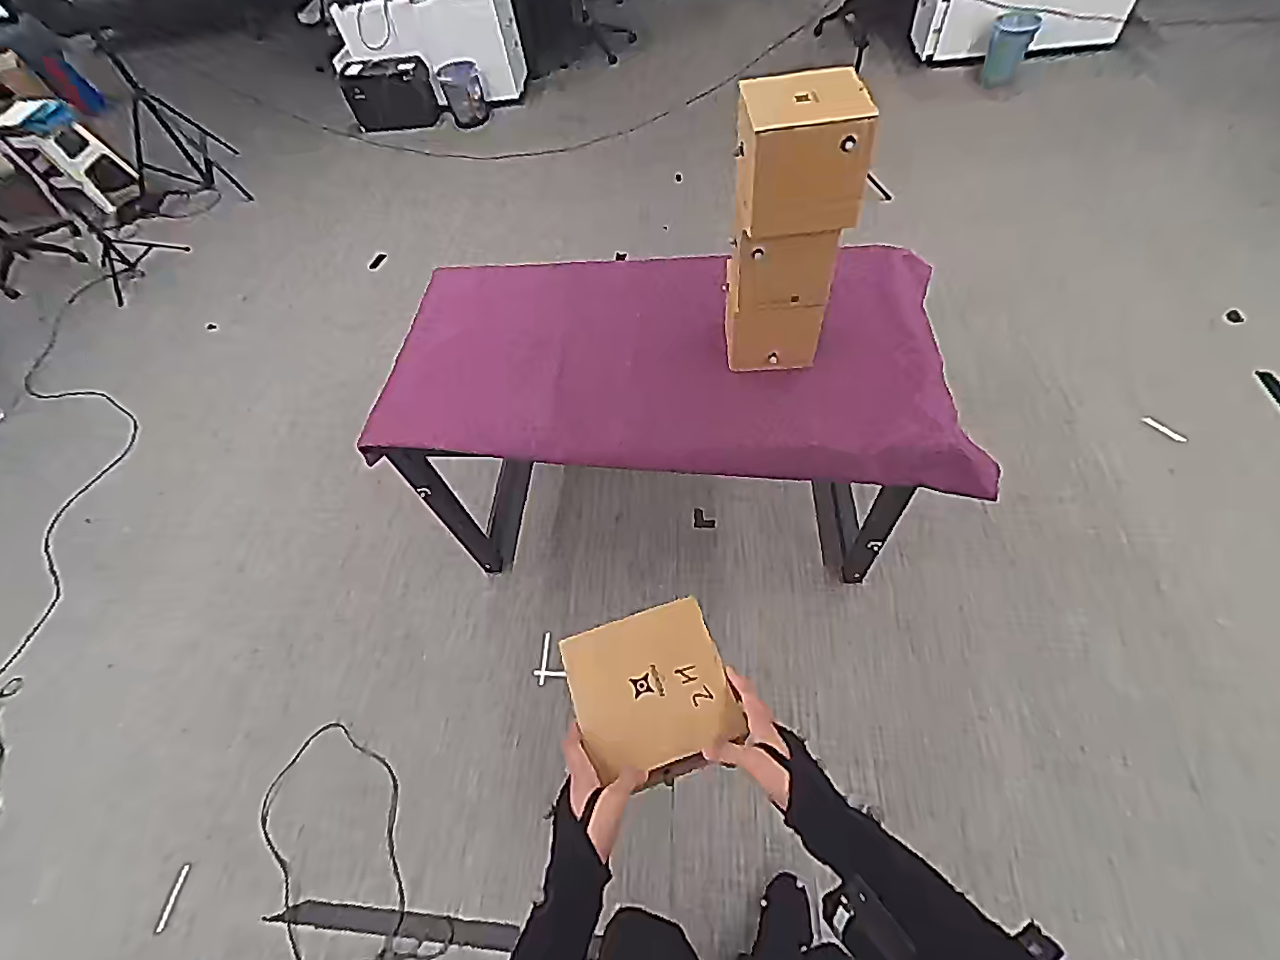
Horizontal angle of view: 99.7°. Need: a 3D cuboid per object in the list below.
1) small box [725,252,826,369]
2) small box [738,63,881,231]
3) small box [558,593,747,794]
[{"bbox_3d":[0.273,-0.350,1.130,0.179,0.176,0.168,-2,56,5],"label":"small box"},{"bbox_3d":[0.248,-0.513,0.846,0.179,0.176,0.168,-5,56,4],"label":"small box"},{"bbox_3d":[0.015,0.268,0.665,0.179,0.176,0.168,-17,57,-7],"label":"small box"}]
